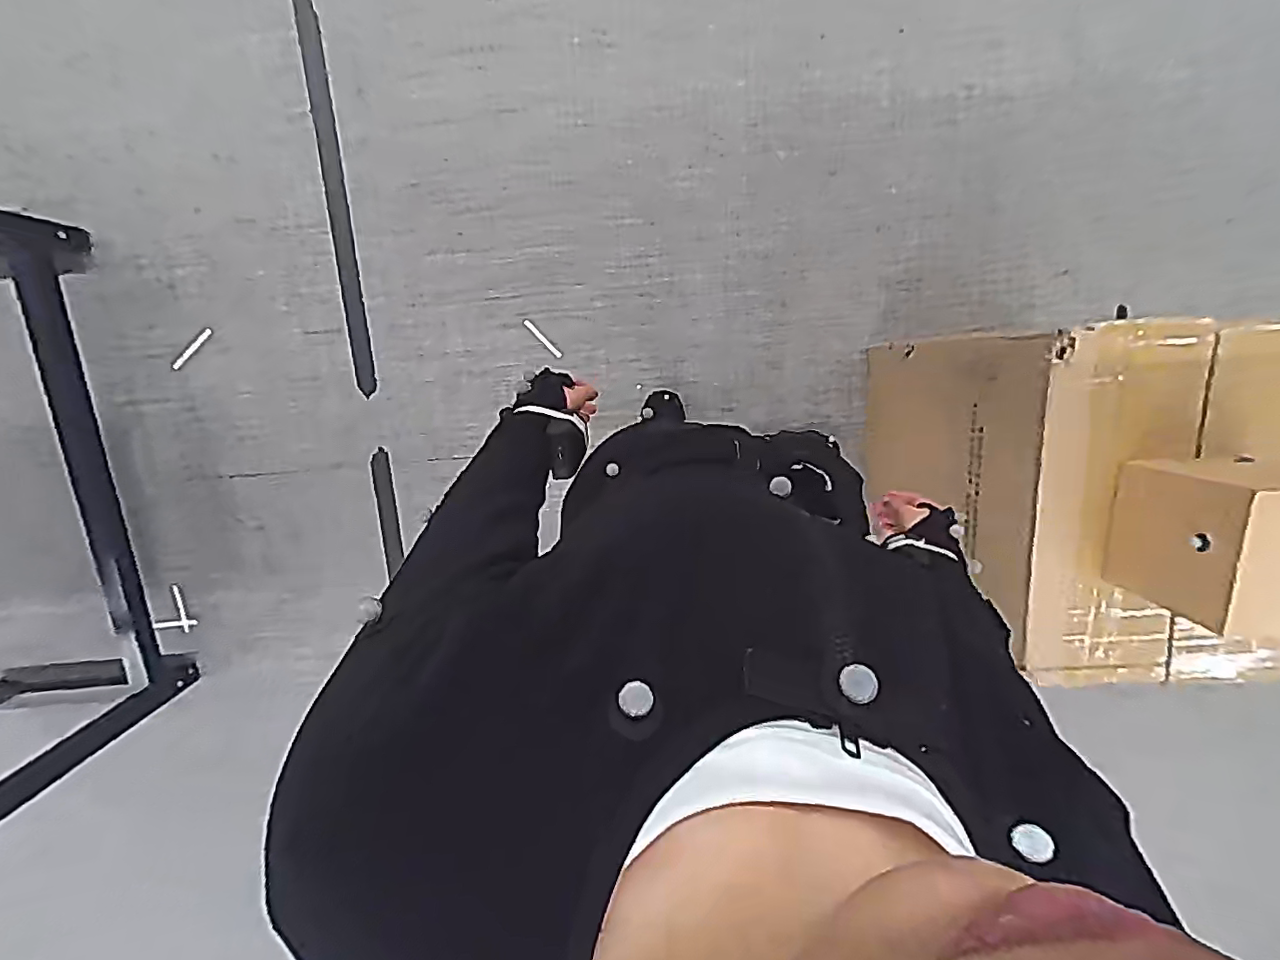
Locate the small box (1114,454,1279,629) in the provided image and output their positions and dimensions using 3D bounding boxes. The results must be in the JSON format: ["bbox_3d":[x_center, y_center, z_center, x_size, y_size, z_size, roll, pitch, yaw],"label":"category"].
[{"bbox_3d":[0.736,0.064,0.662,0.168,0.176,0.179,-2,103,2],"label":"small box"}]
